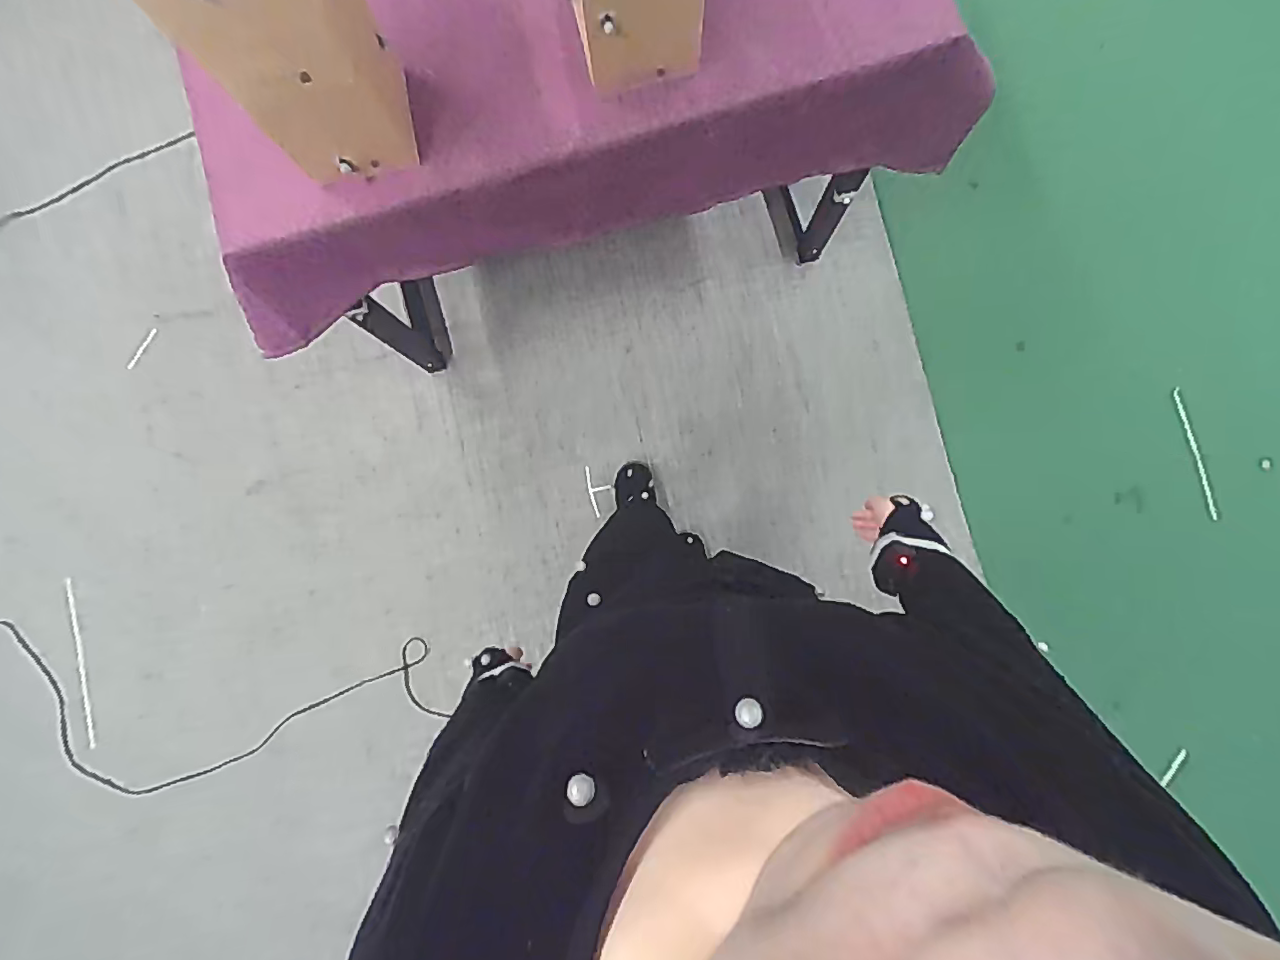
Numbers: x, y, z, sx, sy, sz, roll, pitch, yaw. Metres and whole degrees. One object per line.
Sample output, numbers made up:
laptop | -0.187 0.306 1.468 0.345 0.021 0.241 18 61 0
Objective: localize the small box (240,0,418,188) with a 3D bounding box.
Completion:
small box | -0.443 -0.564 0.780 0.168 0.176 0.179 -11 85 2
